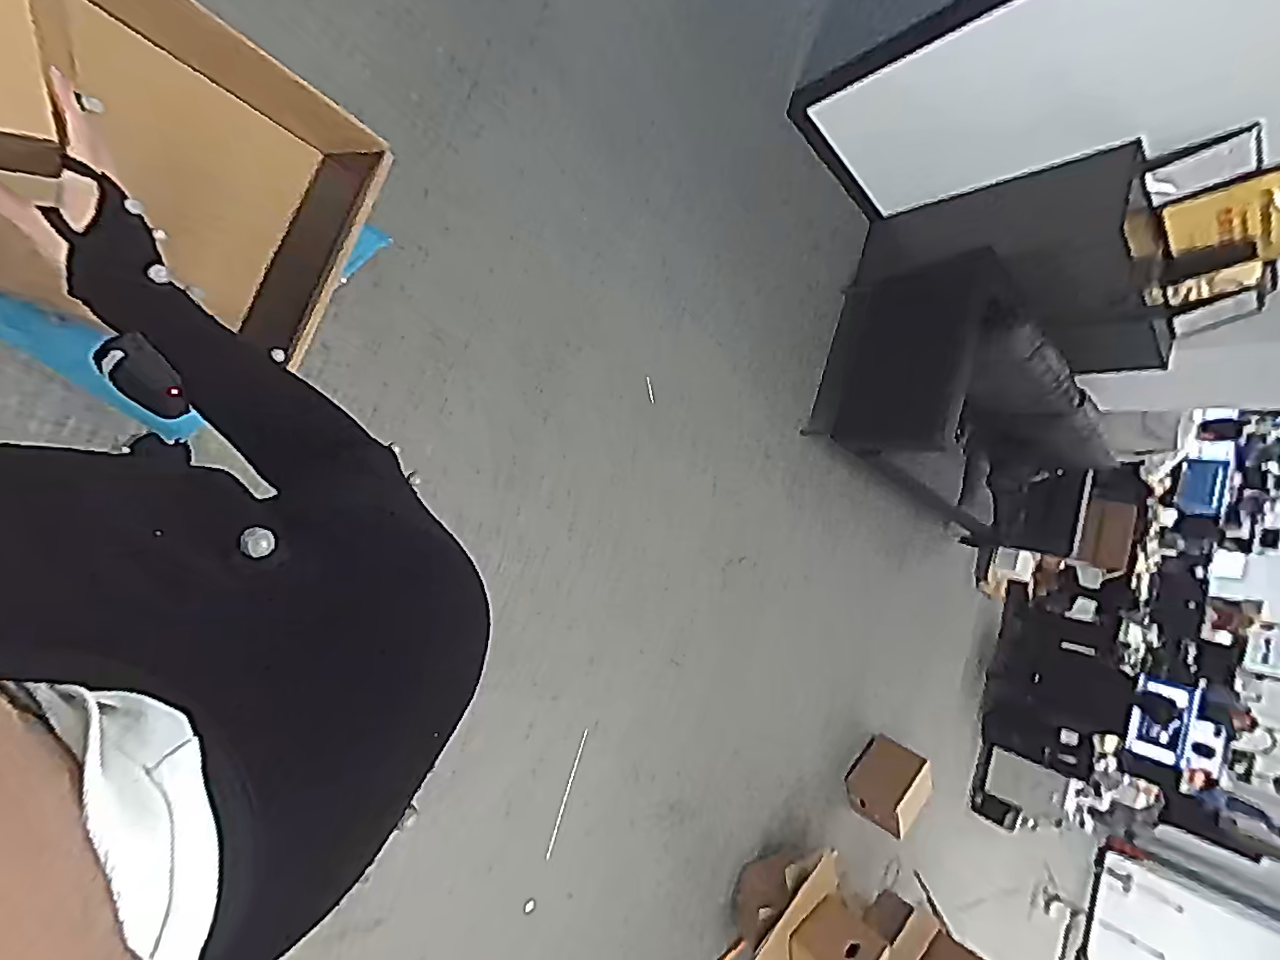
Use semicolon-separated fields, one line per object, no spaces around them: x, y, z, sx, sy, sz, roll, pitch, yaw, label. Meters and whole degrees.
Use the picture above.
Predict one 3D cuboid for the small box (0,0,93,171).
-0.569;-0.355;0.411;0.179;0.176;0.168;-7;108;-34;small box
